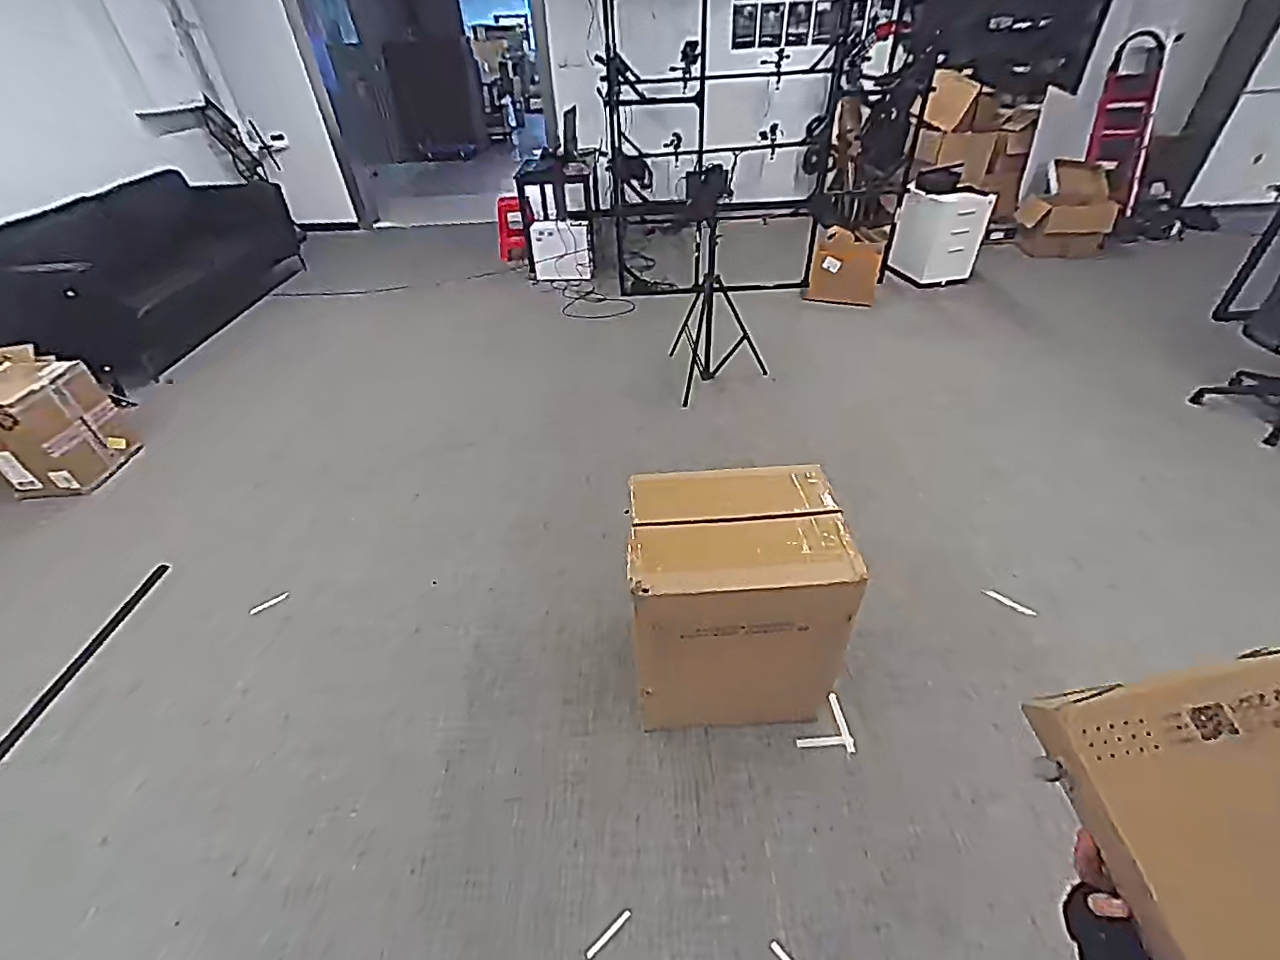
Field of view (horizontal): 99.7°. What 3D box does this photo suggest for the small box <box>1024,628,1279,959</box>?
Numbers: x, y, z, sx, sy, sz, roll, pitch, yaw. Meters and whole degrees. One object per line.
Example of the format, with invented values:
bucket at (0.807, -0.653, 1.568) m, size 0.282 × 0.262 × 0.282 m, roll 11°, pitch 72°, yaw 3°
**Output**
small box at (0.350, 0.181, 0.301) m, size 0.168 × 0.179 × 0.176 m, roll -25°, pitch 61°, yaw 20°
